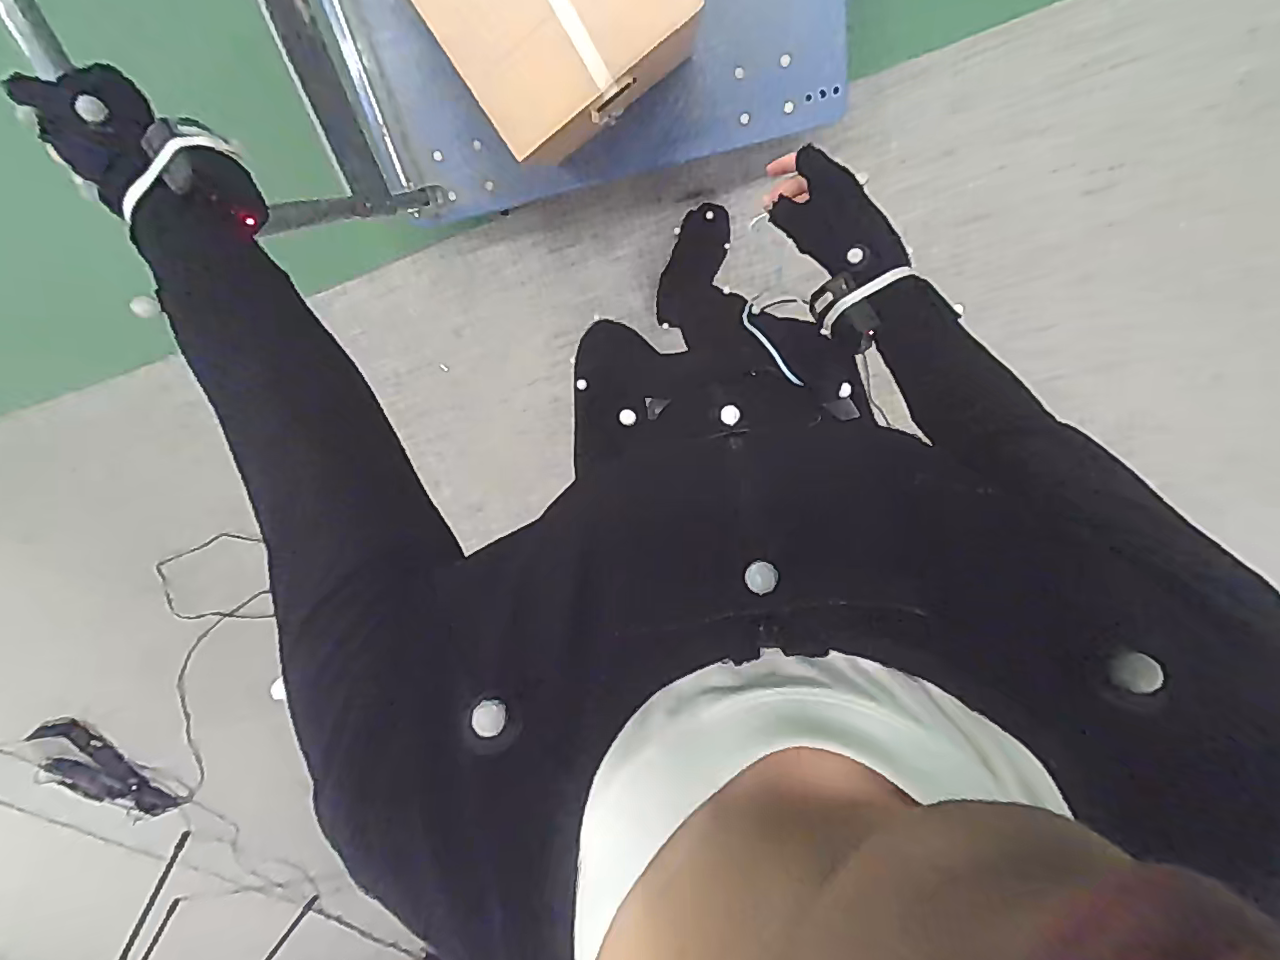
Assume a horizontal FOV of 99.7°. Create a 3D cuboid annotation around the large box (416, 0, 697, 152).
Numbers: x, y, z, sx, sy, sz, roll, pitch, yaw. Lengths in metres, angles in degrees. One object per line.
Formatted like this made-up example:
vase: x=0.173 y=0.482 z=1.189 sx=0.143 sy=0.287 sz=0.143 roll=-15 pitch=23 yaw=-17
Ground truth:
large box: x=-0.150 y=-0.758 z=0.774 sx=0.320 sy=0.320 sz=0.408 roll=-28 pitch=115 yaw=17
